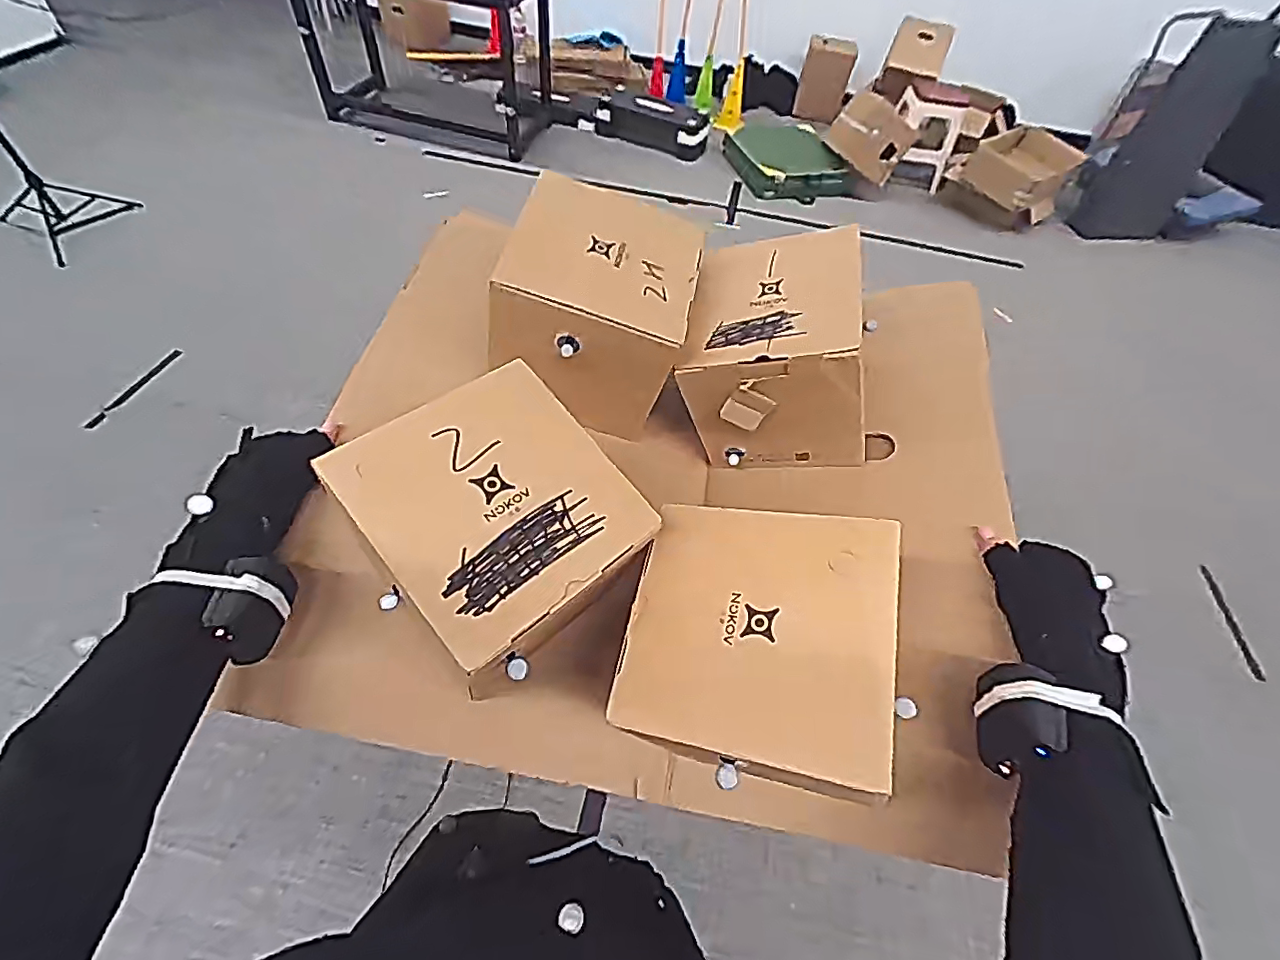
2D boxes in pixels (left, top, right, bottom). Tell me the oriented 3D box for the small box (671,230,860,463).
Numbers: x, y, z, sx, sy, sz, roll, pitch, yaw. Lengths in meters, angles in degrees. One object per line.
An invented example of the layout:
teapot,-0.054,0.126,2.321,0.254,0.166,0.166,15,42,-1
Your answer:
small box,0.147,-0.129,0.582,0.168,0.176,0.179,-1,56,23
